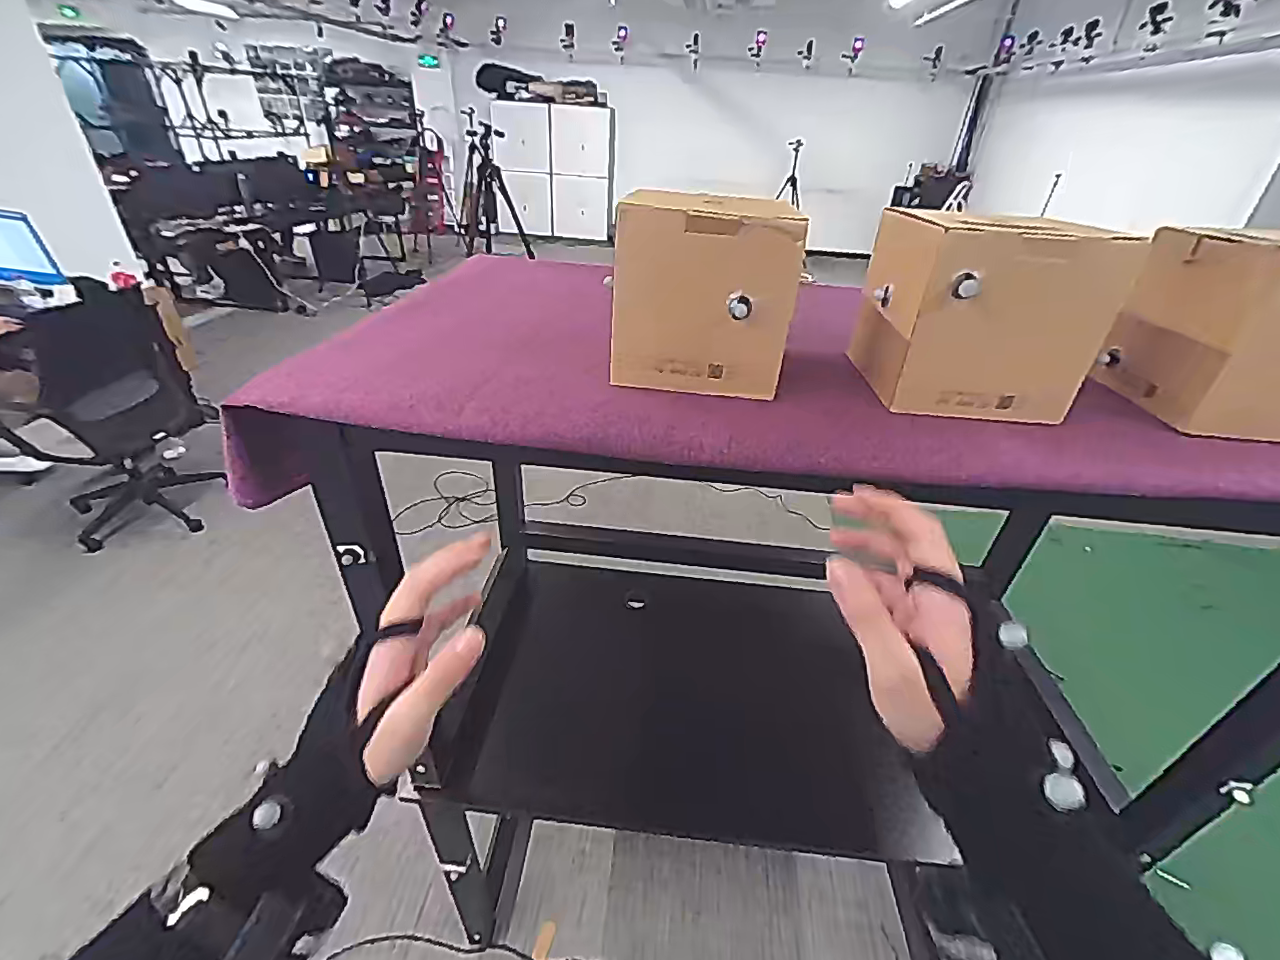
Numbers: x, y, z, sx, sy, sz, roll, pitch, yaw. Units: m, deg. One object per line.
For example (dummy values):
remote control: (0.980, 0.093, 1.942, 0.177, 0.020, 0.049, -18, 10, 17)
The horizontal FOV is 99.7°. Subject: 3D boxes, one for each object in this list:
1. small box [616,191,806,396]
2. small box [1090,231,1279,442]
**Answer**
small box: (0.067, -0.201, 0.577, 0.168, 0.176, 0.179, 7, 33, 3)
small box: (0.617, -0.149, 0.554, 0.179, 0.176, 0.168, 6, 33, 3)
